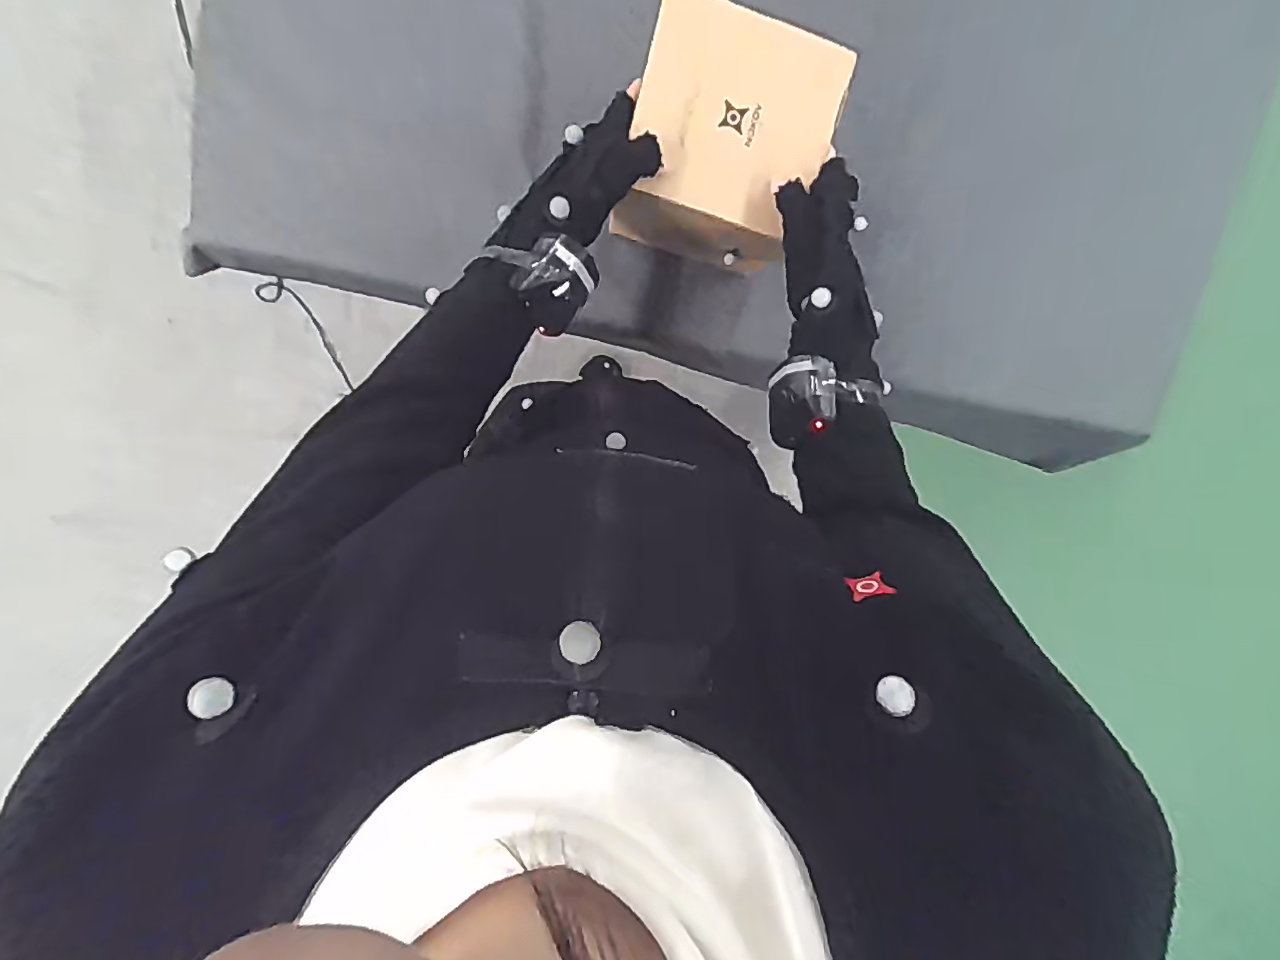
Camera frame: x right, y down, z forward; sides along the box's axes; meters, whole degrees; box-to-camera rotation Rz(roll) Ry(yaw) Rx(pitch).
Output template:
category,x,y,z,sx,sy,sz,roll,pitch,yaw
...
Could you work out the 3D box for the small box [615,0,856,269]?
category,x,y,z,sx,sy,sz,roll,pitch,yaw
small box,0.079,-0.329,0.550,0.179,0.176,0.168,14,99,-7
